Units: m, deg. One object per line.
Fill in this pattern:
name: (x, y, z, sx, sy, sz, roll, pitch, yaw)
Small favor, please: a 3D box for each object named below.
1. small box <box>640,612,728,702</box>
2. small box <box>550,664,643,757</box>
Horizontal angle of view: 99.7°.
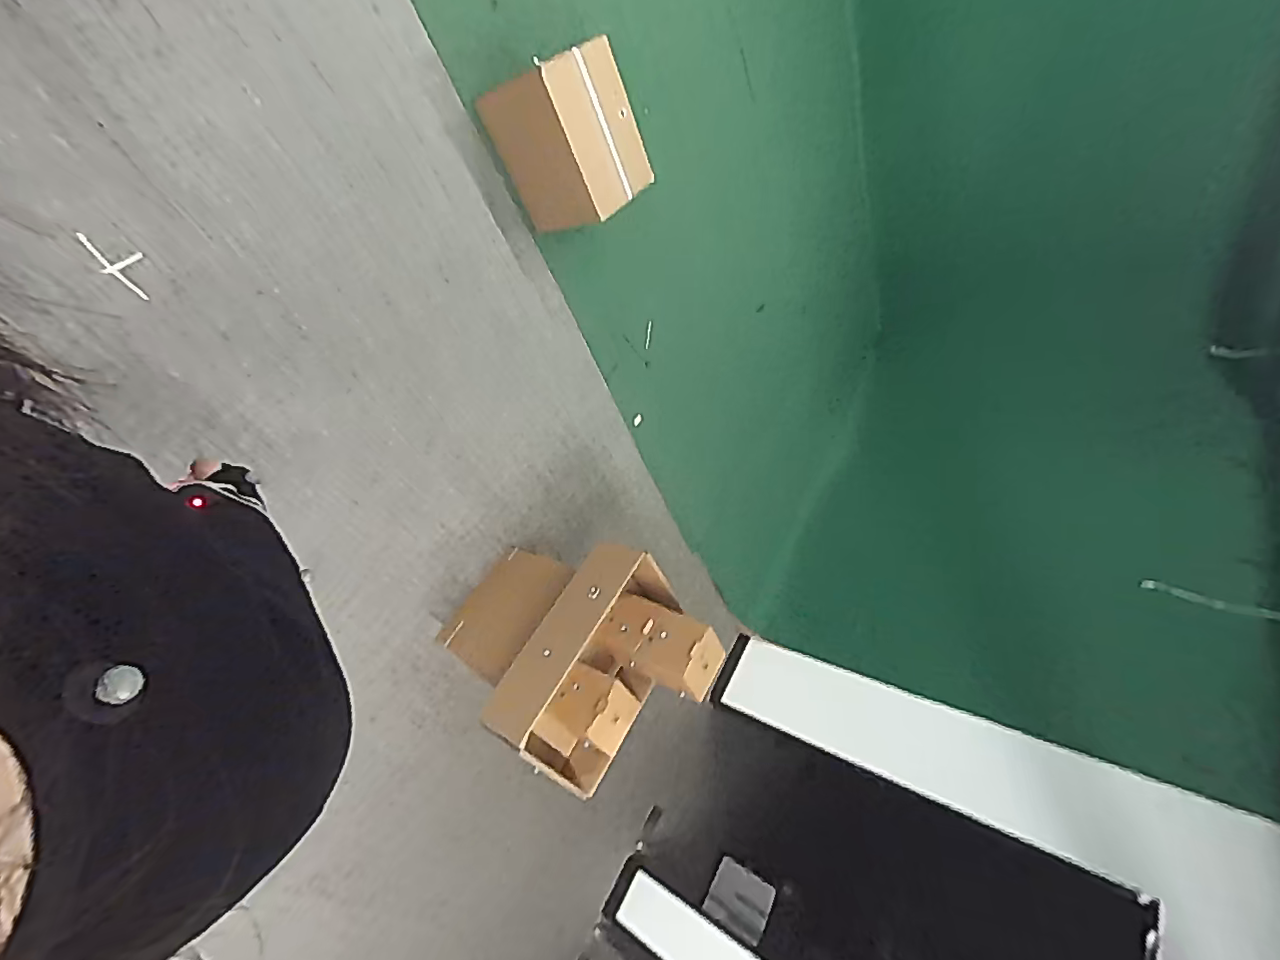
small box: (0.131, 0.513, 1.587, 0.168, 0.176, 0.179, -54, 135, -28)
small box: (-0.126, 0.662, 1.573, 0.168, 0.176, 0.179, -55, 135, -28)
